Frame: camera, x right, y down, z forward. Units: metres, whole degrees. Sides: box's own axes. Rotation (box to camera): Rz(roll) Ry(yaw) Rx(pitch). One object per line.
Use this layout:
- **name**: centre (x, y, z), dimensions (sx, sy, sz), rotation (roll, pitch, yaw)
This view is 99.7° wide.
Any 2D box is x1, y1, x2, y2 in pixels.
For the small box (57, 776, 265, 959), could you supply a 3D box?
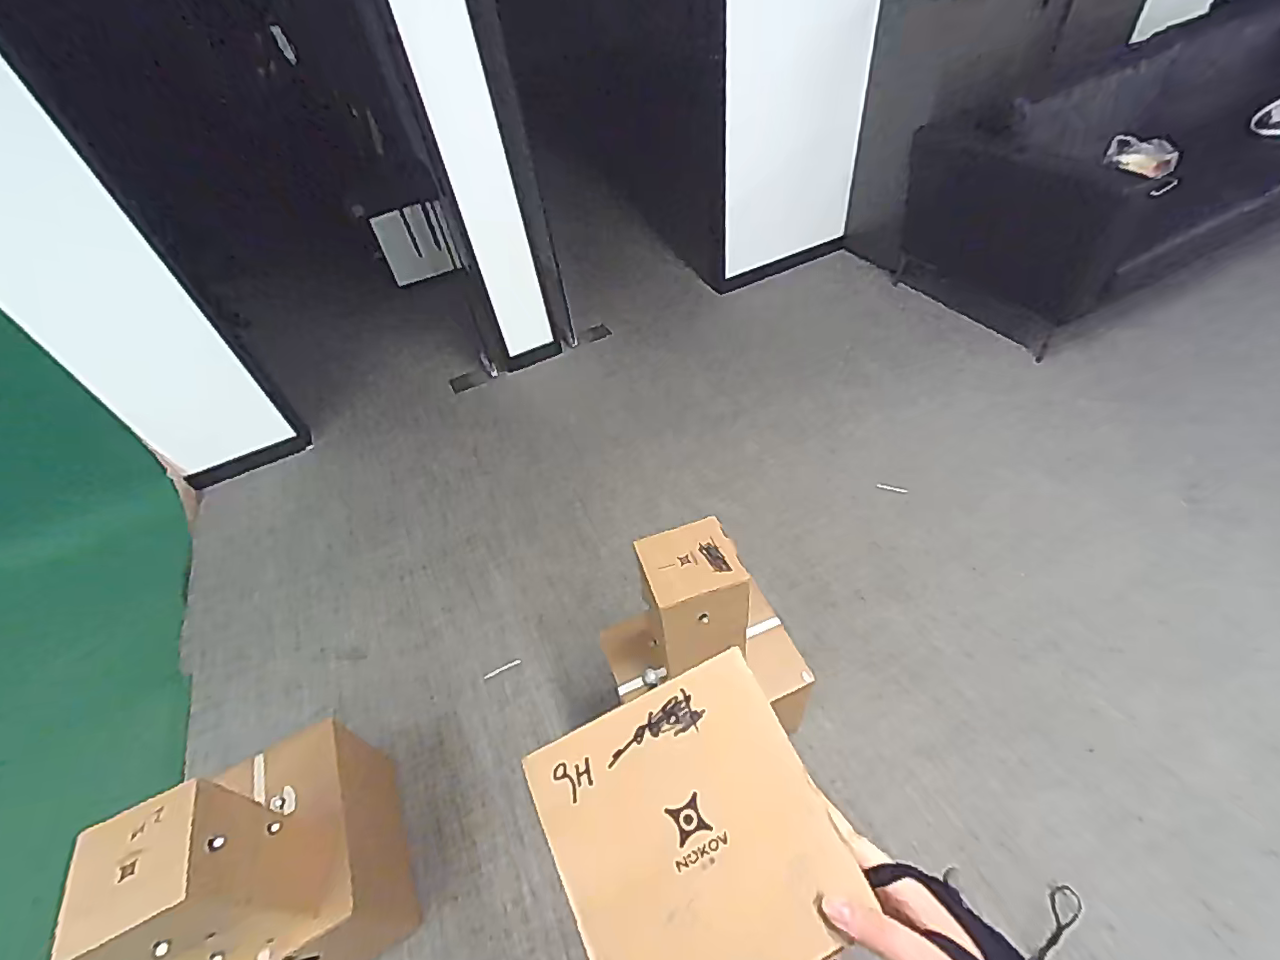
- **small box**: centre (-0.709, 0.598, 0.829), dimensions (0.168, 0.176, 0.179), rotation (-23, 47, -13)

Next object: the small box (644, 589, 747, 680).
- **small box**: centre (0.120, 0.321, 1.187), dimensions (0.179, 0.176, 0.168), rotation (-18, 45, -8)

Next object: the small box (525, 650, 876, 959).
- **small box**: centre (0.034, 0.252, 0.410), dimensions (0.168, 0.176, 0.179), rotation (-24, 67, -10)

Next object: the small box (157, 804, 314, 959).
- **small box**: centre (-0.699, 0.713, 0.948), dimensions (0.168, 0.176, 0.179), rotation (-23, 47, -13)

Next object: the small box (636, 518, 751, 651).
- **small box**: centre (0.104, 0.208, 1.069), dimensions (0.179, 0.176, 0.168), rotation (-17, 45, -7)

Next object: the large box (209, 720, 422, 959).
- **large box**: centre (-0.721, 0.829, 1.178), dimensions (0.320, 0.320, 0.408), rotation (-25, 48, -14)
